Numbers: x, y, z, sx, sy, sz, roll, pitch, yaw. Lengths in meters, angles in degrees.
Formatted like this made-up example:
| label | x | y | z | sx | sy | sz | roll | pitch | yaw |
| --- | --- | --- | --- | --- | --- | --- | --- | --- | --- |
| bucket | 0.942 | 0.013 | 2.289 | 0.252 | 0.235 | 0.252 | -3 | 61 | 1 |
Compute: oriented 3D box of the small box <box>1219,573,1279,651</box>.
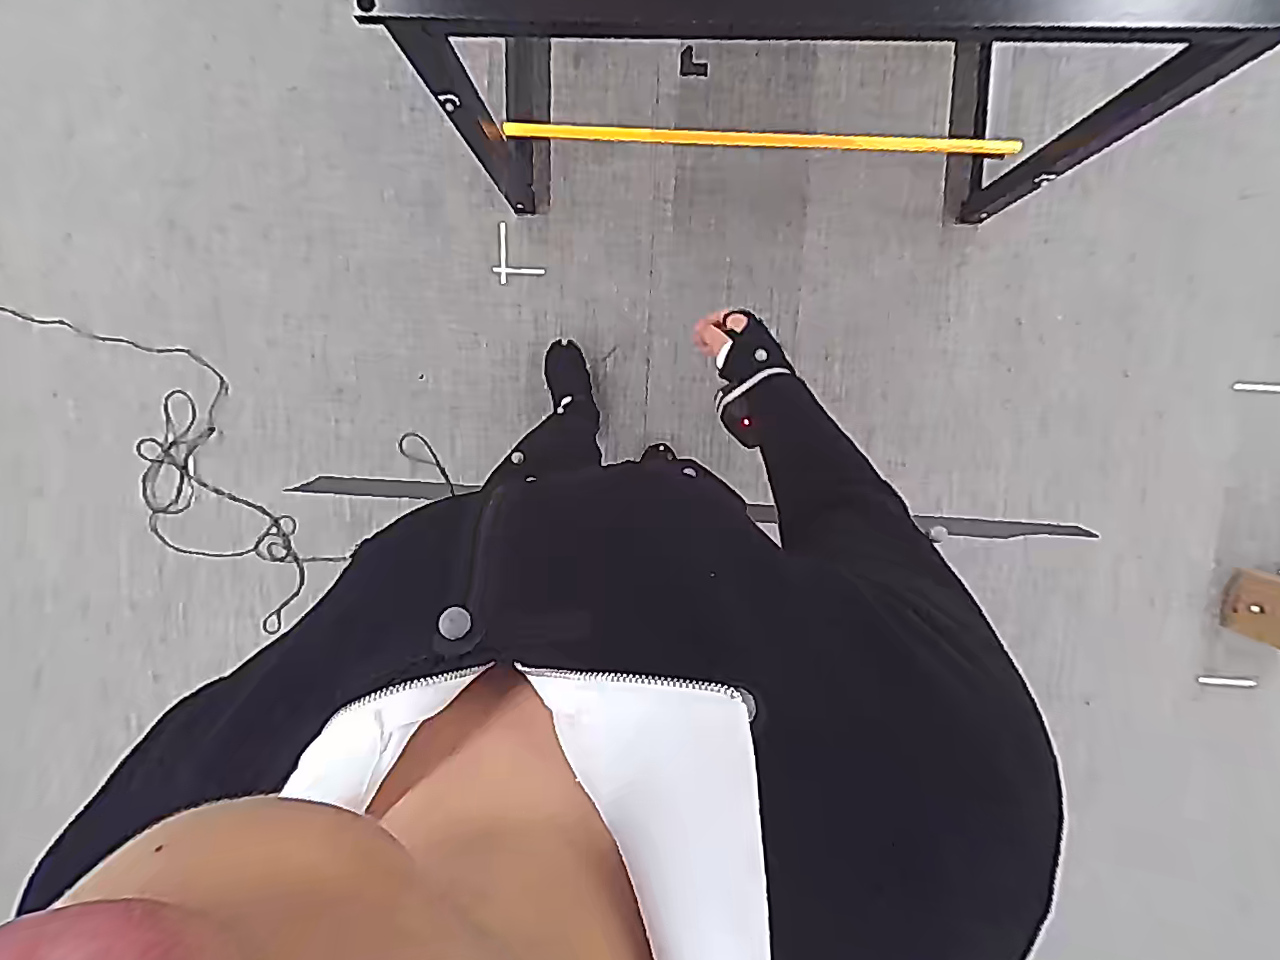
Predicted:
| label | x | y | z | sx | sy | sz | roll | pitch | yaw |
| --- | --- | --- | --- | --- | --- | --- | --- | --- | --- |
| small box | 1.670 | 0.344 | 1.391 | 0.179 | 0.176 | 0.168 | 5 | 98 | 2 |
